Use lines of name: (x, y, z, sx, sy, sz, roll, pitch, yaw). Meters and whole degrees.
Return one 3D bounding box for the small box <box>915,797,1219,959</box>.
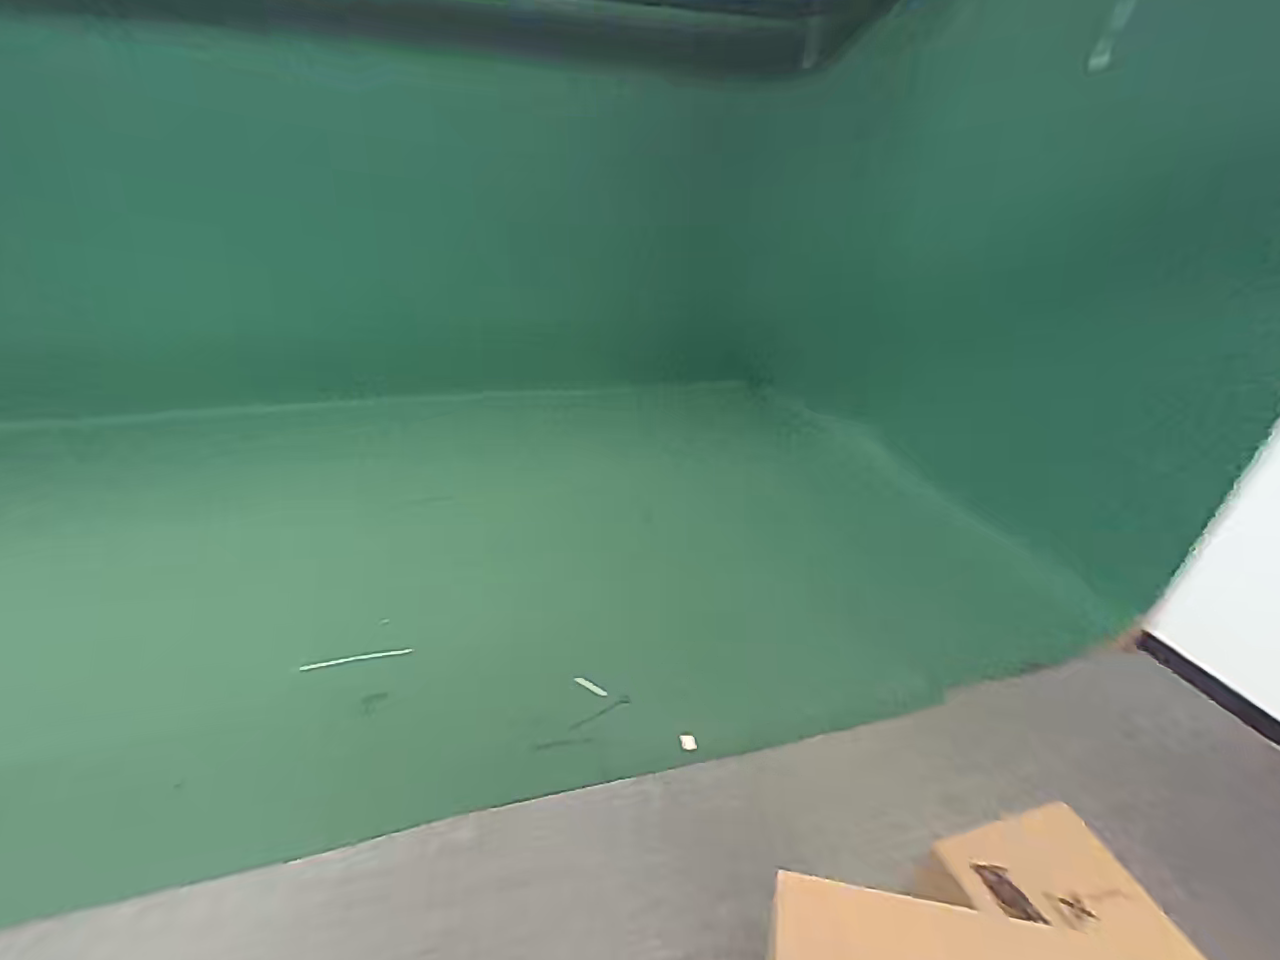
small box: (0.410, 0.470, 0.554, 0.179, 0.176, 0.168, -6, 33, -14)
